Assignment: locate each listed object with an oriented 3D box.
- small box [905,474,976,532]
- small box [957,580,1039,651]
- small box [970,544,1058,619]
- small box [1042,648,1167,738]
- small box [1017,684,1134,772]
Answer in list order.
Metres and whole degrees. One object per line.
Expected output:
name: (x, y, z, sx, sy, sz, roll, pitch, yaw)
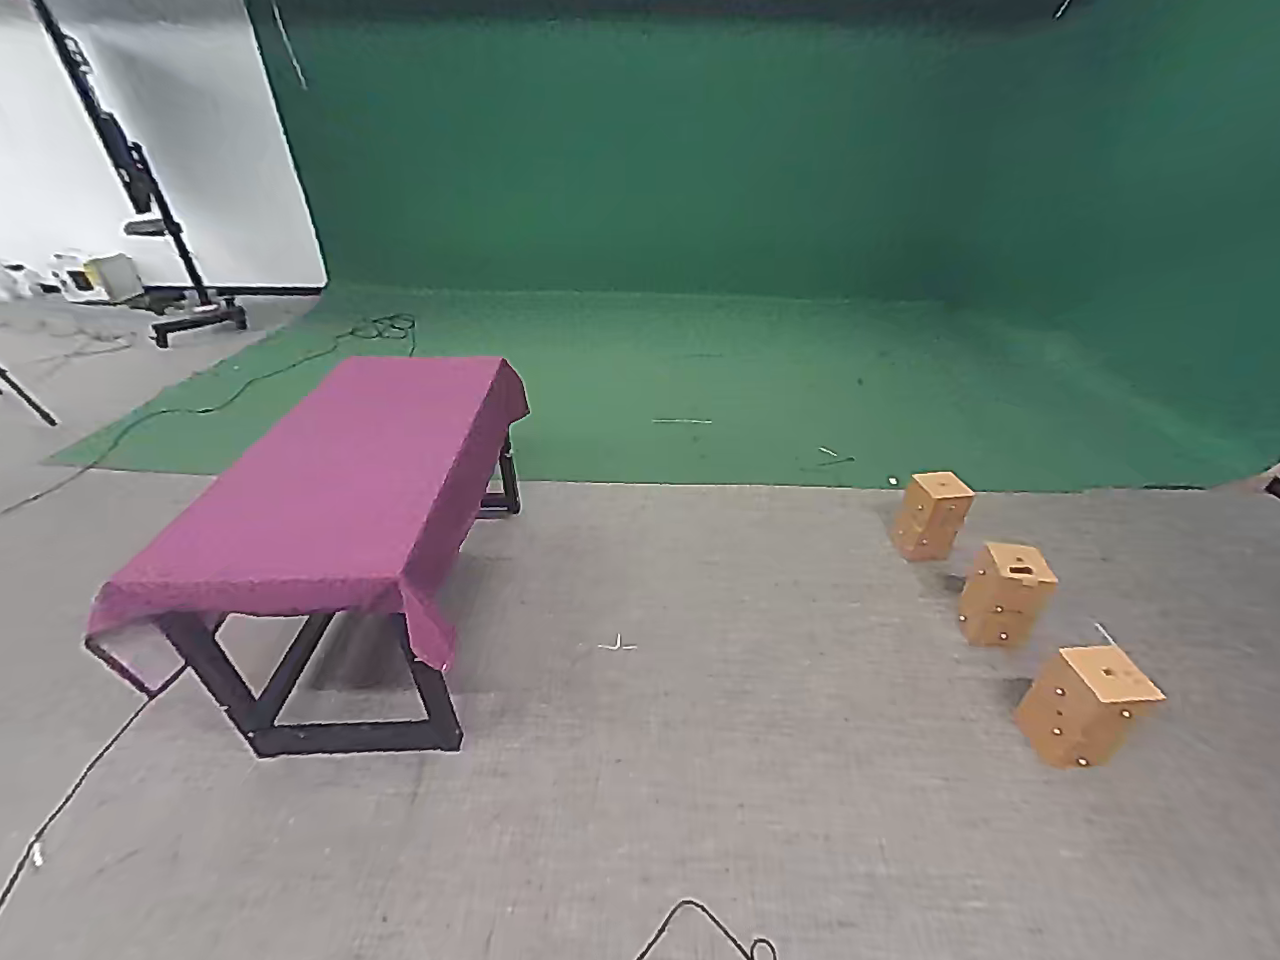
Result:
small box: (1.193, 0.095, 2.167, 0.179, 0.176, 0.168, -4, 35, -7)
small box: (1.249, 0.476, 1.899, 0.168, 0.176, 0.179, 6, 35, 7)
small box: (1.242, 0.339, 1.806, 0.168, 0.176, 0.179, 6, 34, 8)
small box: (1.234, 0.577, 1.460, 0.179, 0.176, 0.168, -2, 35, -3)
small box: (1.239, 0.711, 1.558, 0.168, 0.176, 0.179, -2, 35, -3)
